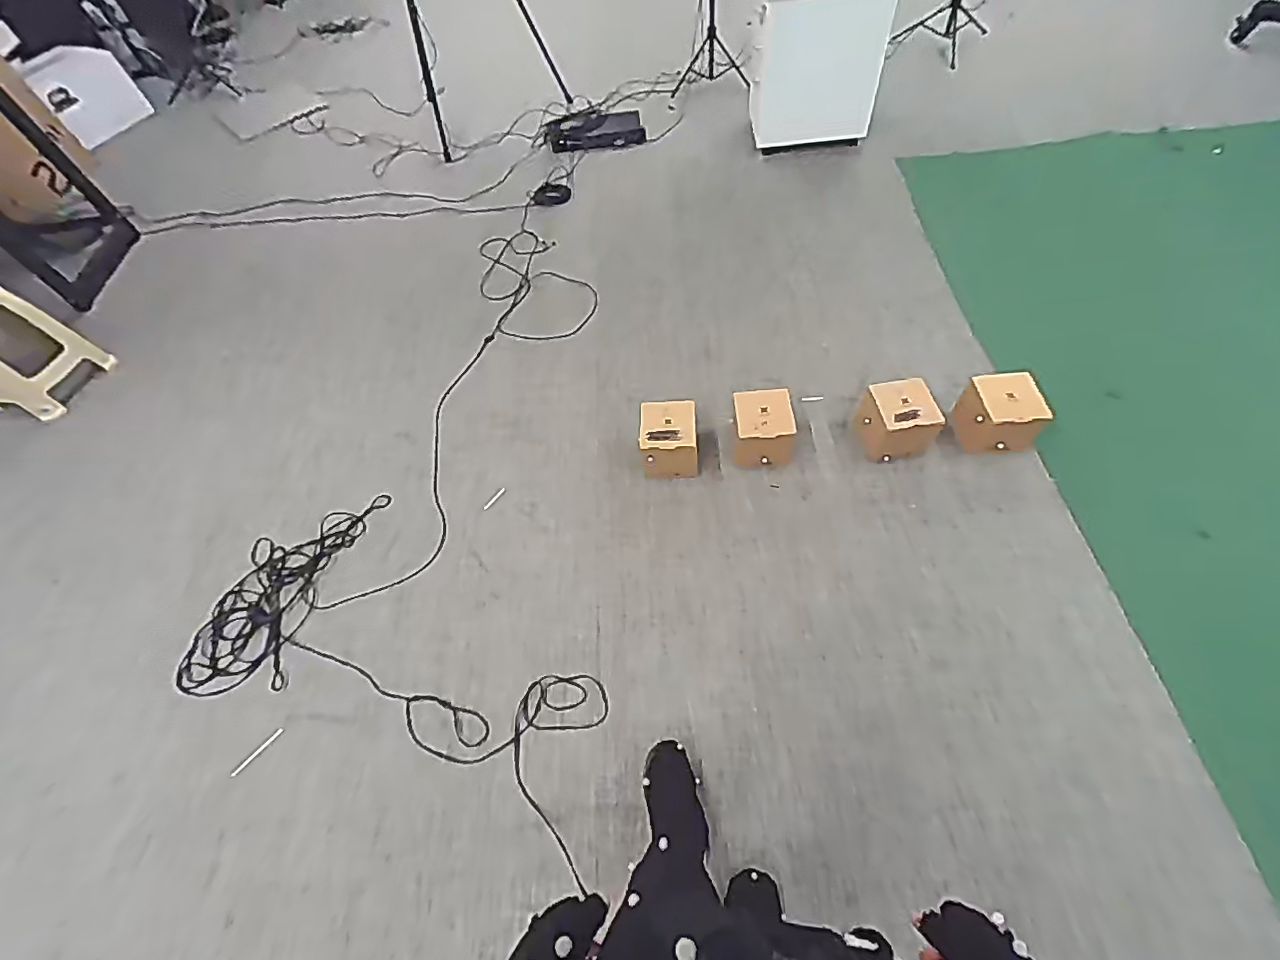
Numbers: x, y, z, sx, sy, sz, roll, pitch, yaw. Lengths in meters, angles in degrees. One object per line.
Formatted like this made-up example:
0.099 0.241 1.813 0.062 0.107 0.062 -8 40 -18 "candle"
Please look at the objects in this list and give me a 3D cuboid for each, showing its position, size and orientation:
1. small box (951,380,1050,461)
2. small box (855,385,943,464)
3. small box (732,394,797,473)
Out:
1.070 -0.177 1.624 0.168 0.176 0.179 -5 57 4 "small box"
0.778 -0.161 1.643 0.168 0.176 0.179 -7 56 1 "small box"
0.377 -0.141 1.670 0.168 0.176 0.179 -4 58 5 "small box"
